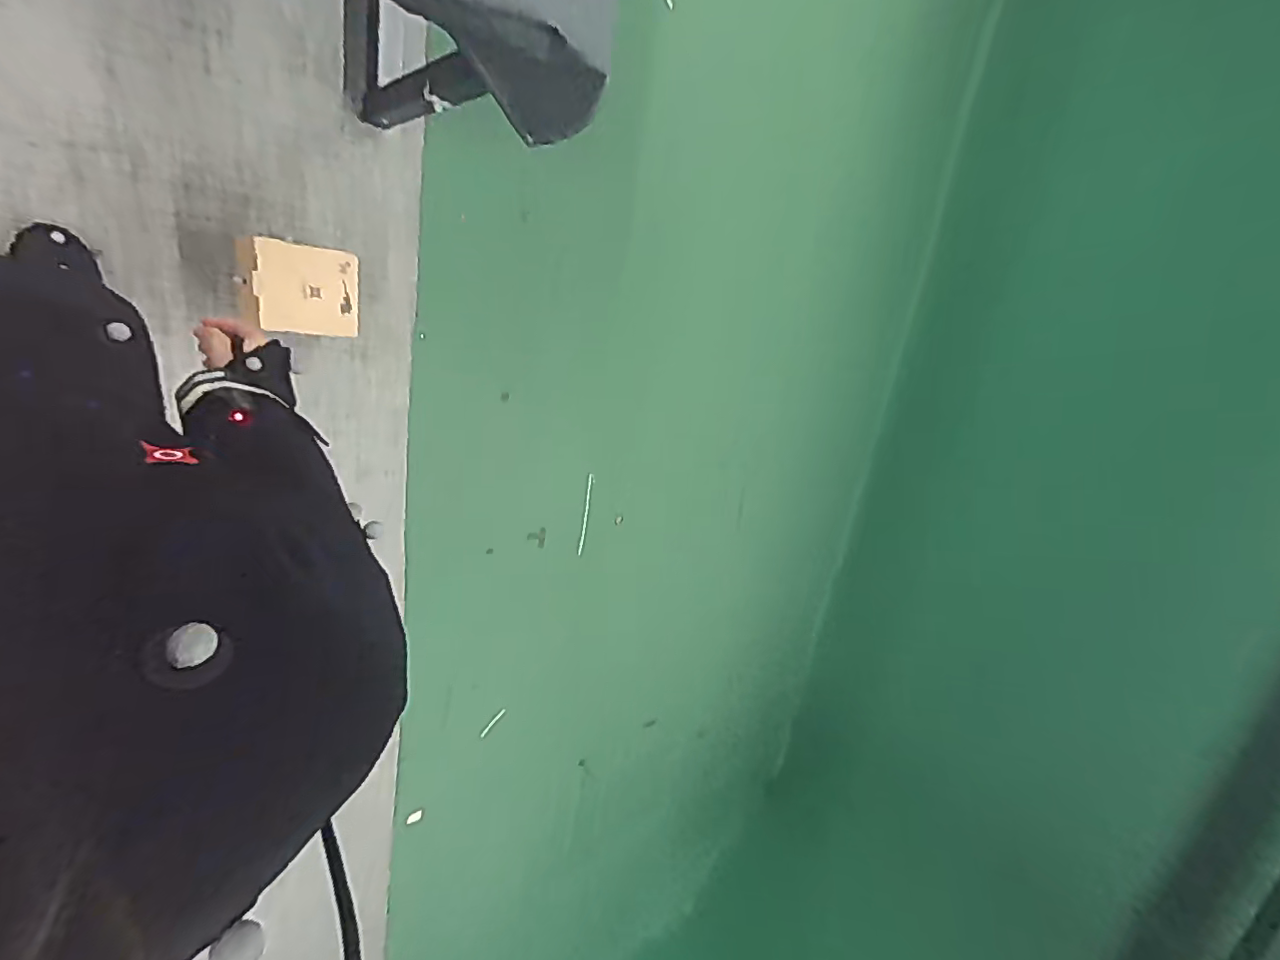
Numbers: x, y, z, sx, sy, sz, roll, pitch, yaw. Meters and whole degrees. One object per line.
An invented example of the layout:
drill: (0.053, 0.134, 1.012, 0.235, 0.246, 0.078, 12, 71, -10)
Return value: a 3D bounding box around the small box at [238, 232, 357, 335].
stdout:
small box: (-0.692, -0.391, 1.091, 0.179, 0.176, 0.168, -8, 112, -45)
